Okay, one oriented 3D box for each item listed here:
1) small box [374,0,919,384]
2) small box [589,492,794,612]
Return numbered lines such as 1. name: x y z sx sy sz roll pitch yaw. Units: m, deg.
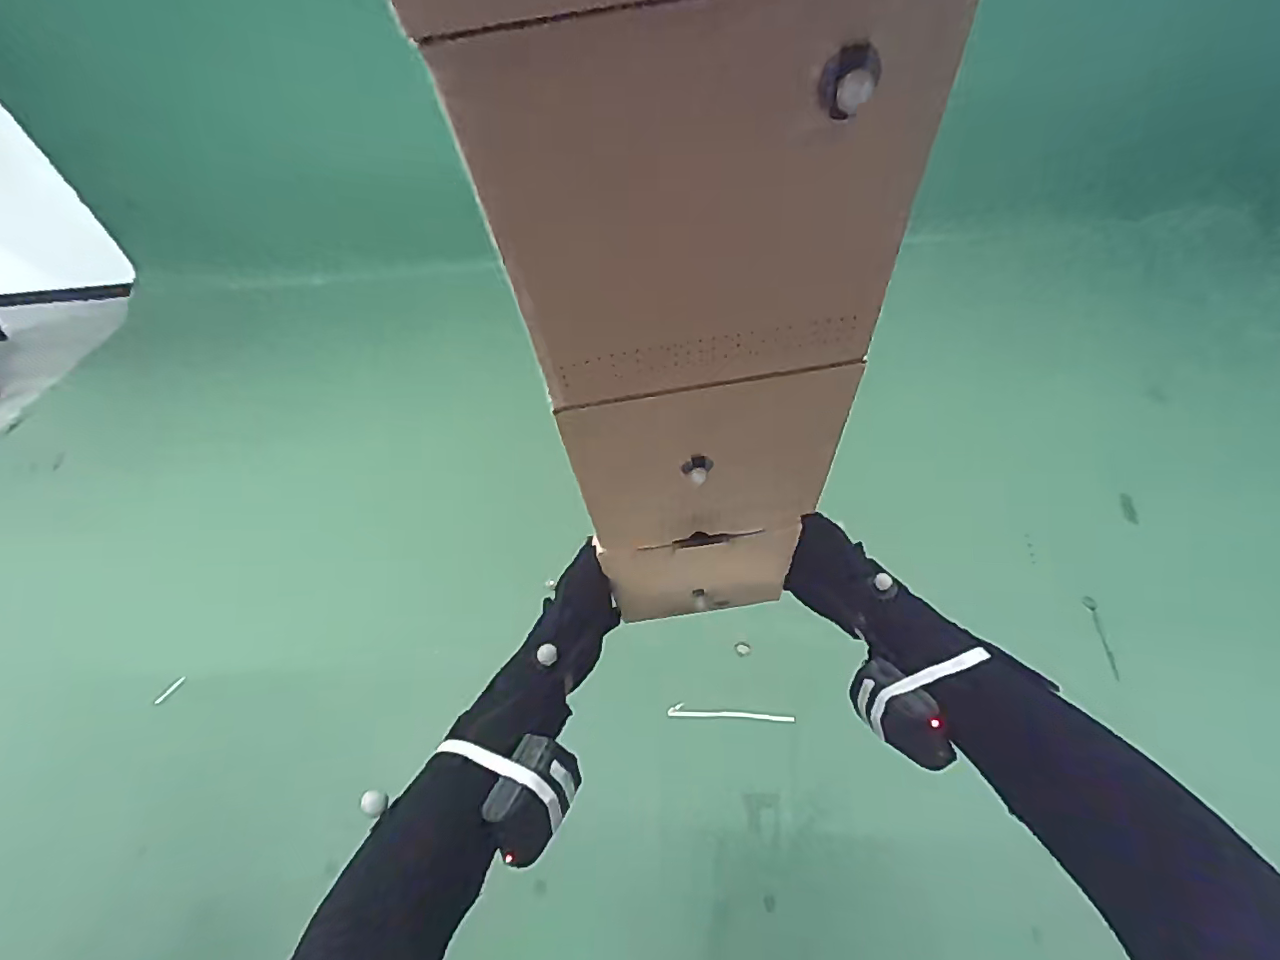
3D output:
1. small box: 0.007 -0.167 0.265 0.179 0.176 0.168 -10 57 1
2. small box: 0.040 0.012 0.536 0.168 0.176 0.179 -9 57 2
